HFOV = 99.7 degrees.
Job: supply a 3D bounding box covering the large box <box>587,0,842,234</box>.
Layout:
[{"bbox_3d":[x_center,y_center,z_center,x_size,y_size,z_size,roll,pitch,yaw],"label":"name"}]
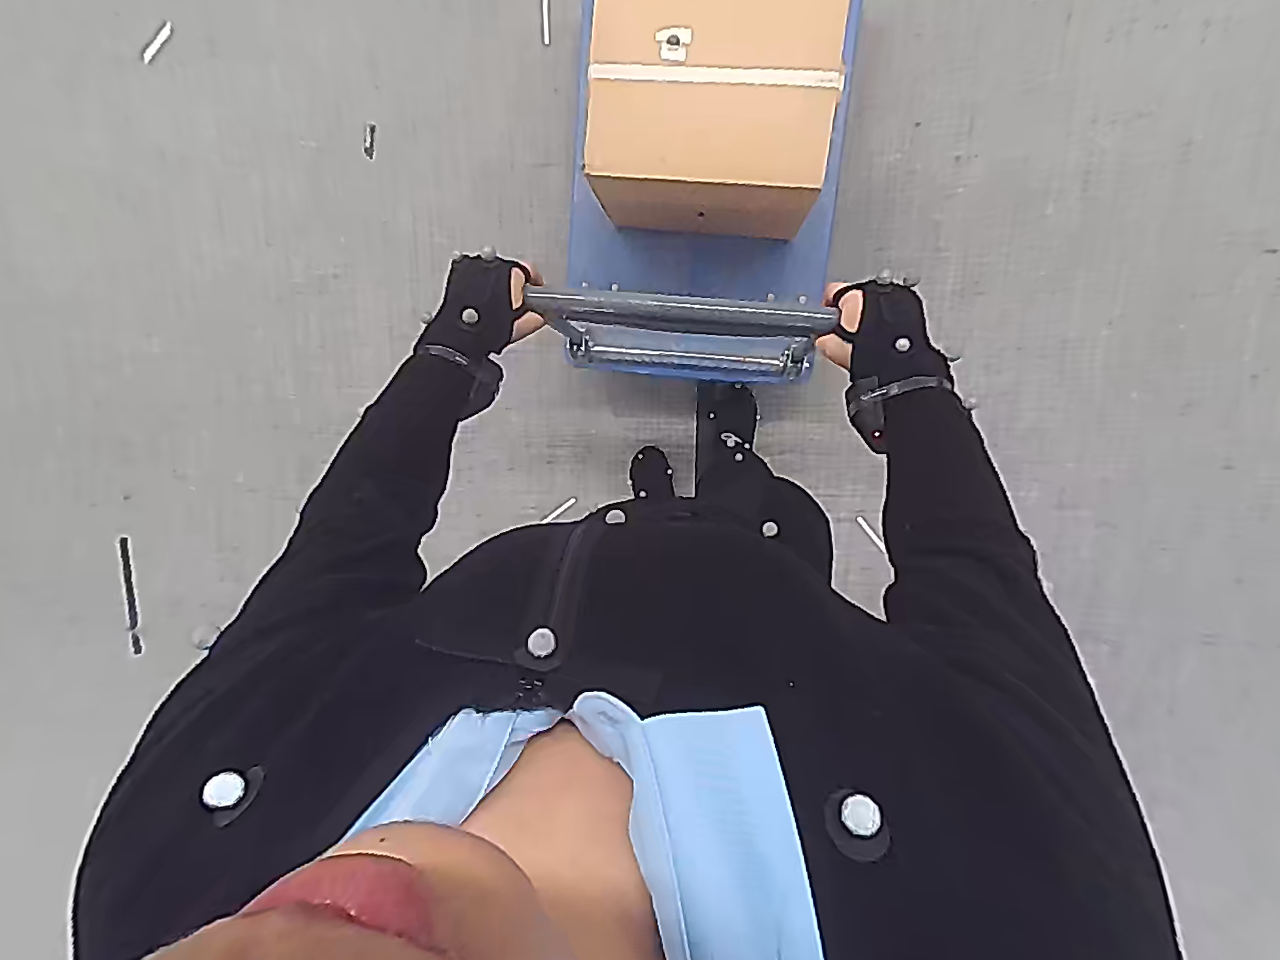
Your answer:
[{"bbox_3d":[0.136,-0.682,1.039,0.408,0.320,0.320,7,99,7],"label":"large box"}]
